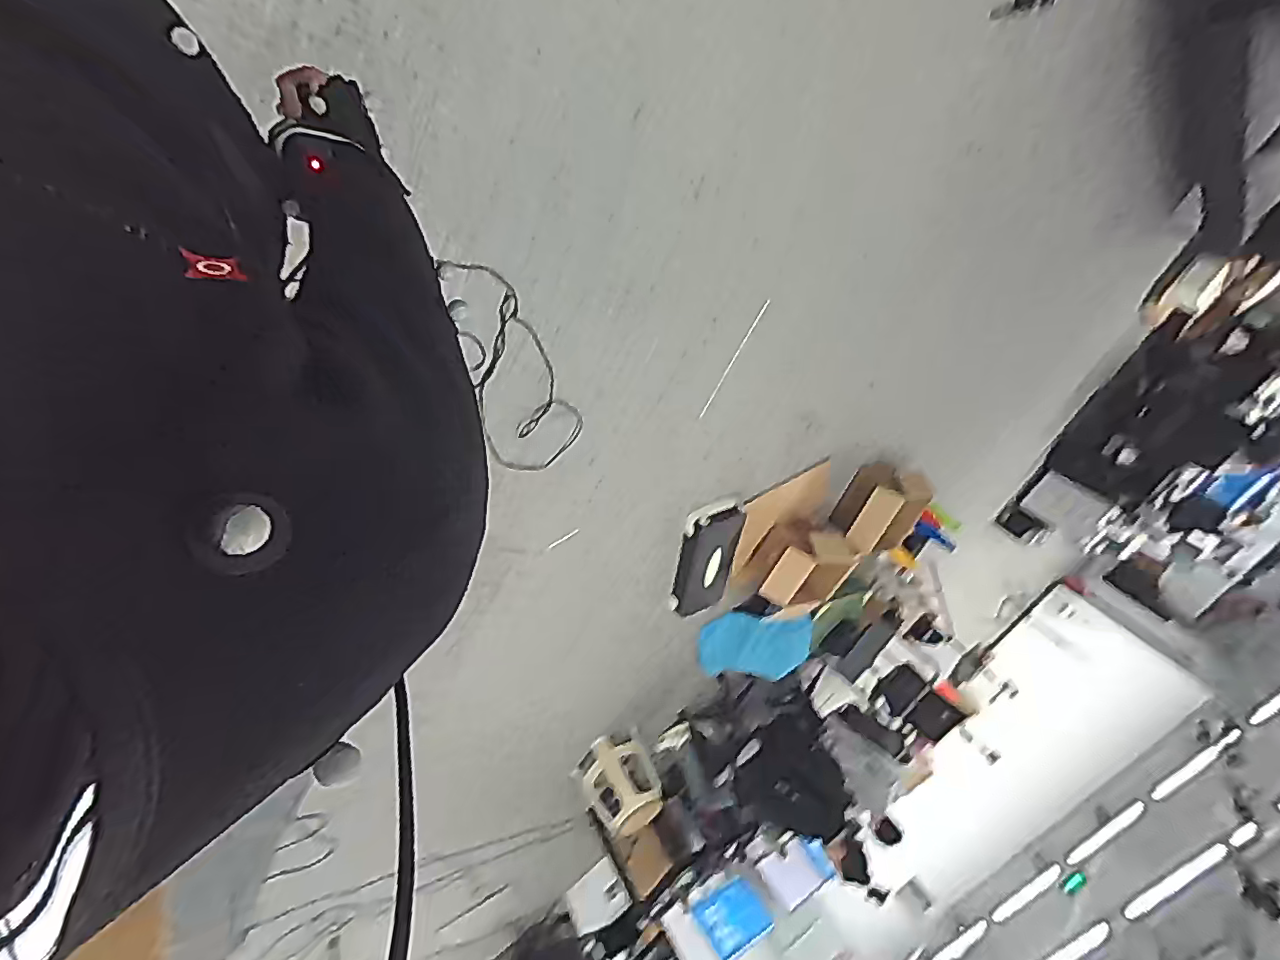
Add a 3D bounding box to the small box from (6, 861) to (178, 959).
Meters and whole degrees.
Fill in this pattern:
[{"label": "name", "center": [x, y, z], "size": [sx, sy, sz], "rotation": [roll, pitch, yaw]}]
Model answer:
[{"label": "small box", "center": [-0.798, 0.704, 0.788], "size": [0.179, 0.176, 0.168], "rotation": [8, 120, -43]}]
